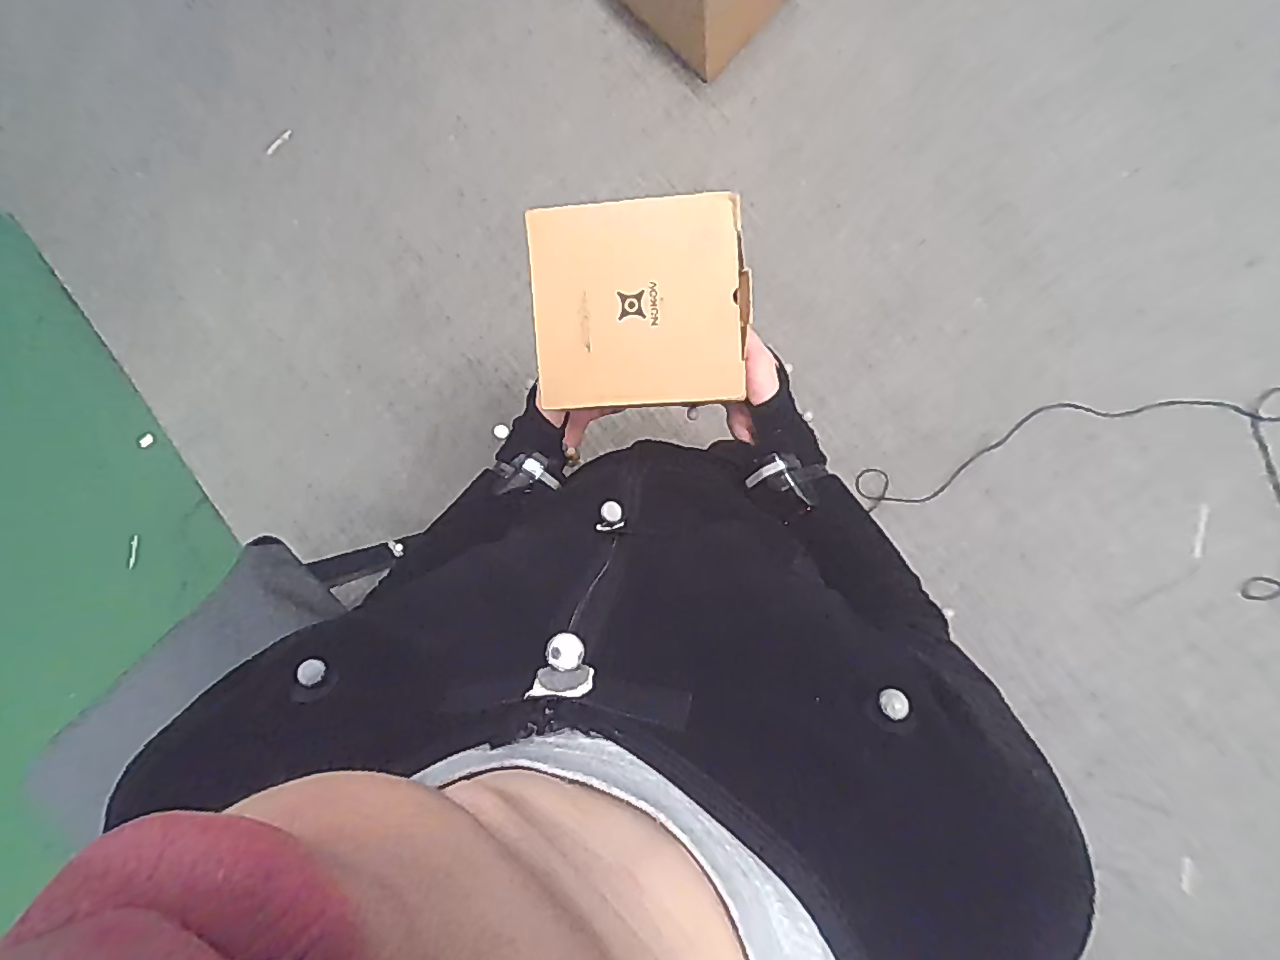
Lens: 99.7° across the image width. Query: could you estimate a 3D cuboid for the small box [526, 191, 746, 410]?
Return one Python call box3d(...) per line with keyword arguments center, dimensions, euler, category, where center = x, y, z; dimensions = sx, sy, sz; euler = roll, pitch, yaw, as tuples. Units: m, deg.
box3d(center=(0.004, -0.156, 0.524), dimensions=(0.179, 0.176, 0.168), euler=(-3, 96, 6), category="small box")
